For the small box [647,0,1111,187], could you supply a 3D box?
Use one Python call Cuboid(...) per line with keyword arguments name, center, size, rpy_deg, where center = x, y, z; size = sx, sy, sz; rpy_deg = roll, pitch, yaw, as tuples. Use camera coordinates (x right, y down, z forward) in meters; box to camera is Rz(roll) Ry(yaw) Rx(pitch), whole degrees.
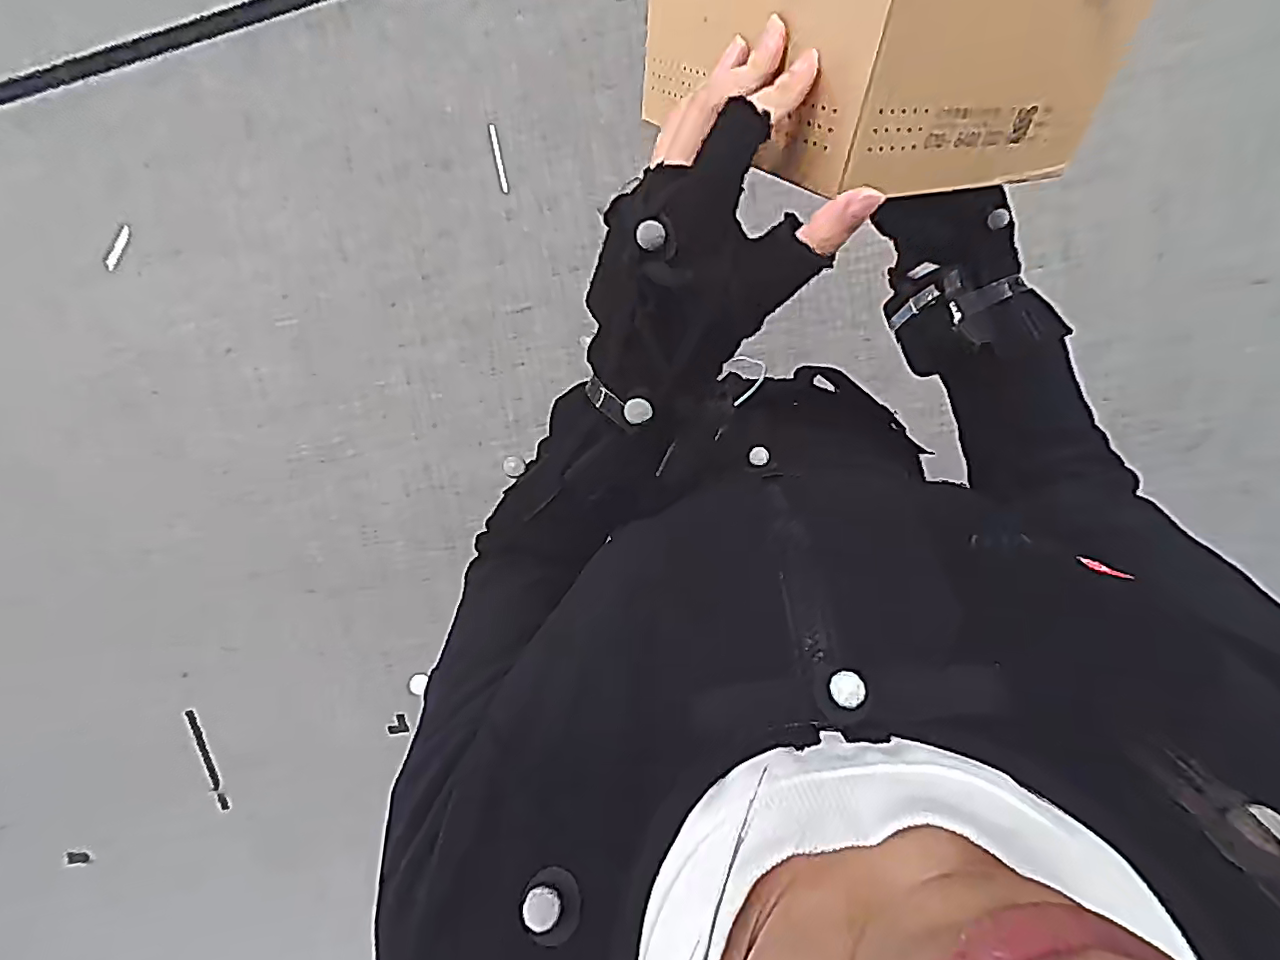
Cuboid(name="small box", center=(0.116, -0.258, 0.272), size=(0.168, 0.179, 0.176), rpy_deg=(-16, 136, -22))
